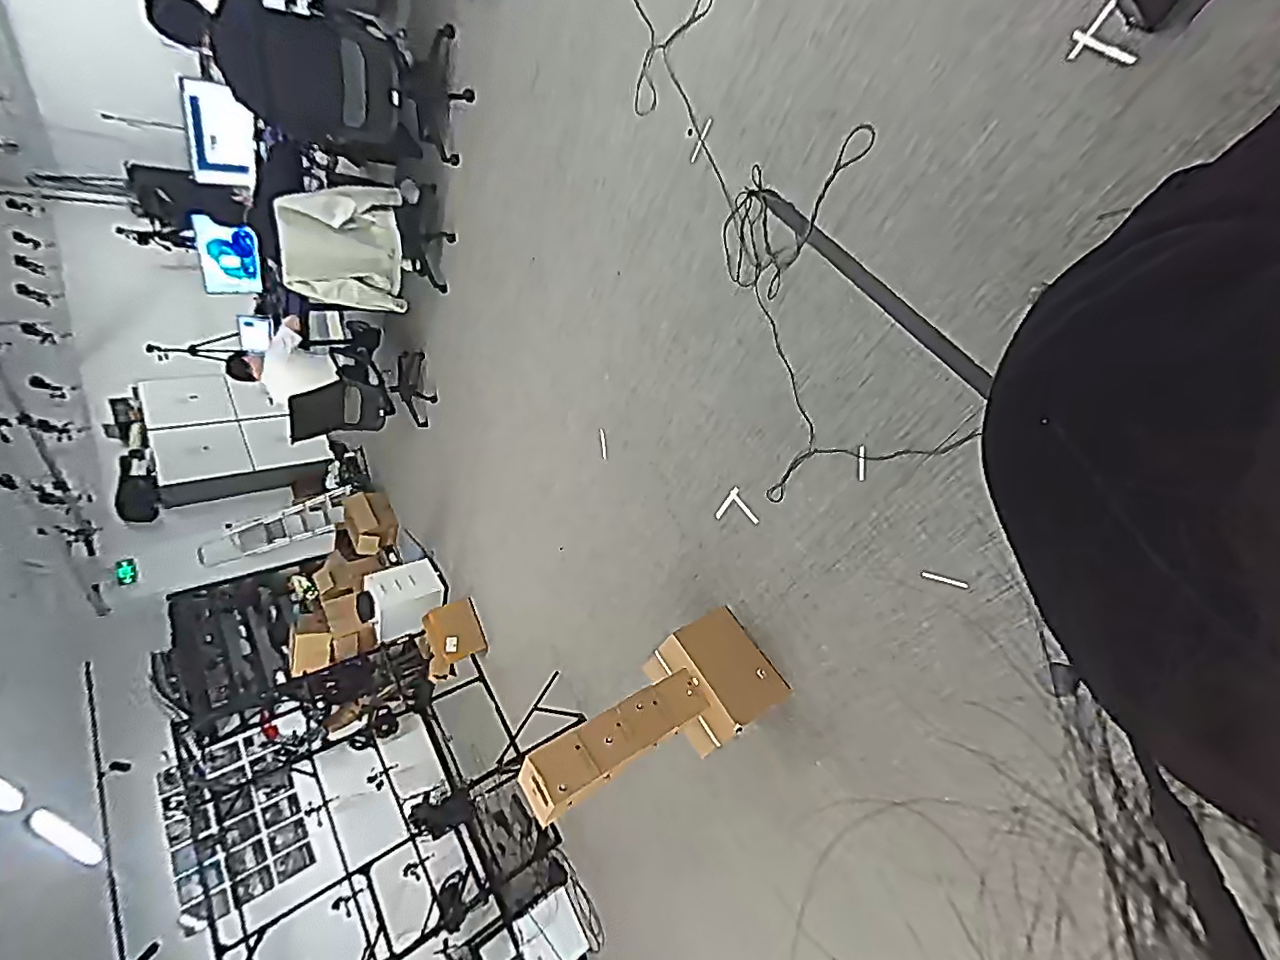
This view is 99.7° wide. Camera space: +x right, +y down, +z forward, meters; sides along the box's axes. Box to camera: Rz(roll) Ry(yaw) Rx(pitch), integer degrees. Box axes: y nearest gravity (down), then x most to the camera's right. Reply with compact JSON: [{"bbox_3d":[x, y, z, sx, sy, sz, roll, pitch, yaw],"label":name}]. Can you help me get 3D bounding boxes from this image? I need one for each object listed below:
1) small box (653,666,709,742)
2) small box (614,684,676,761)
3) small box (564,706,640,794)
[{"bbox_3d":[0.125,0.816,1.977,0.168,0.176,0.179,52,135,26],"label":"small box"},{"bbox_3d":[0.001,0.841,1.875,0.168,0.176,0.179,52,137,28],"label":"small box"},{"bbox_3d":[-0.123,0.880,1.773,0.168,0.176,0.179,49,134,31],"label":"small box"}]
